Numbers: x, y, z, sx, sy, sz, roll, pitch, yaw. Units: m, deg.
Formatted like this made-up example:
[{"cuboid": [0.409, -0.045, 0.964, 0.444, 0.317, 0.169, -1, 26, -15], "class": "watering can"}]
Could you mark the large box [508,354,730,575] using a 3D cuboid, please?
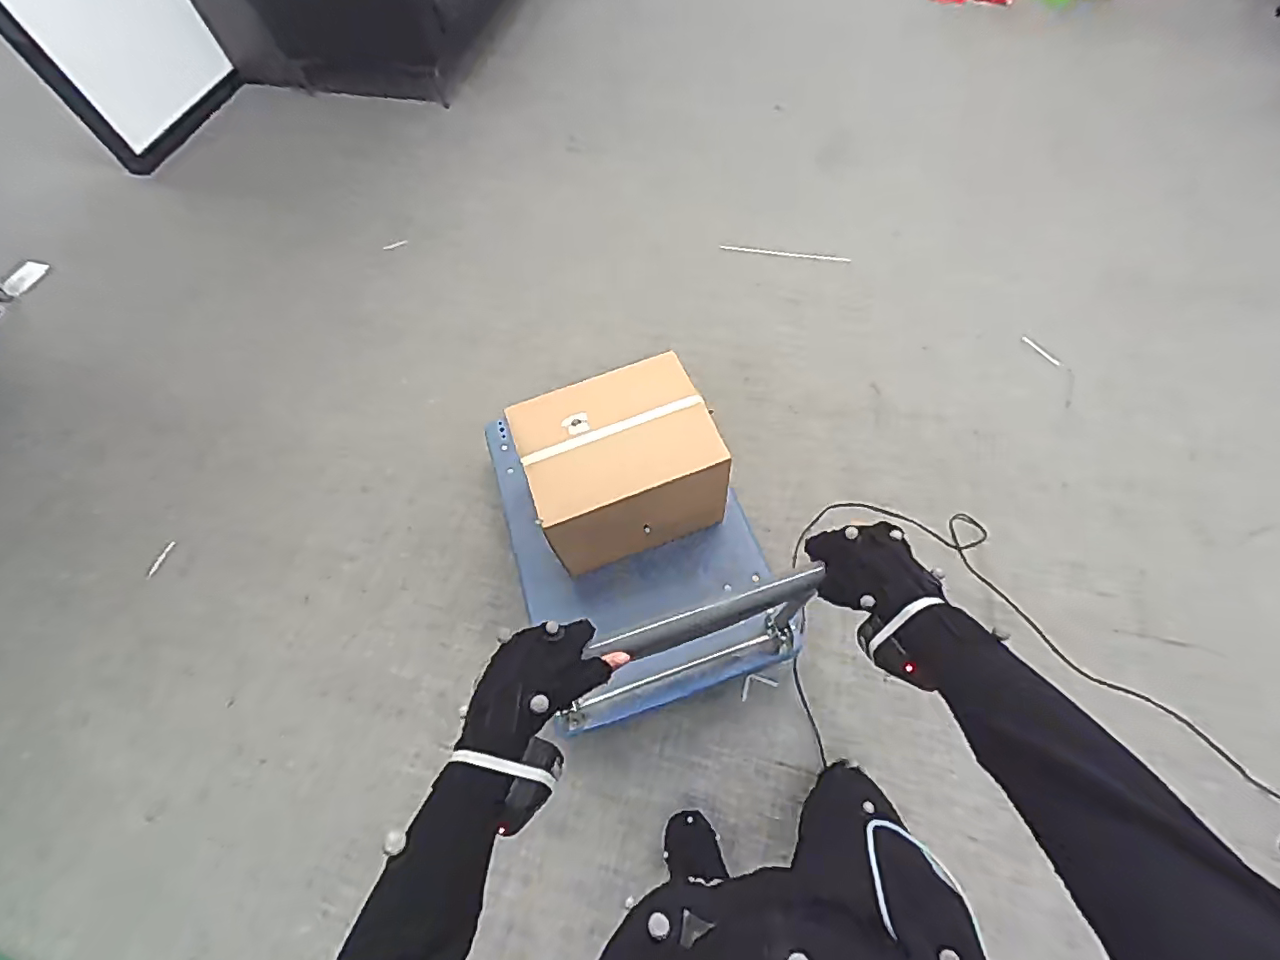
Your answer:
[{"cuboid": [-0.041, -0.025, 1.271, 0.408, 0.320, 0.320, -21, 62, -6], "class": "large box"}]
